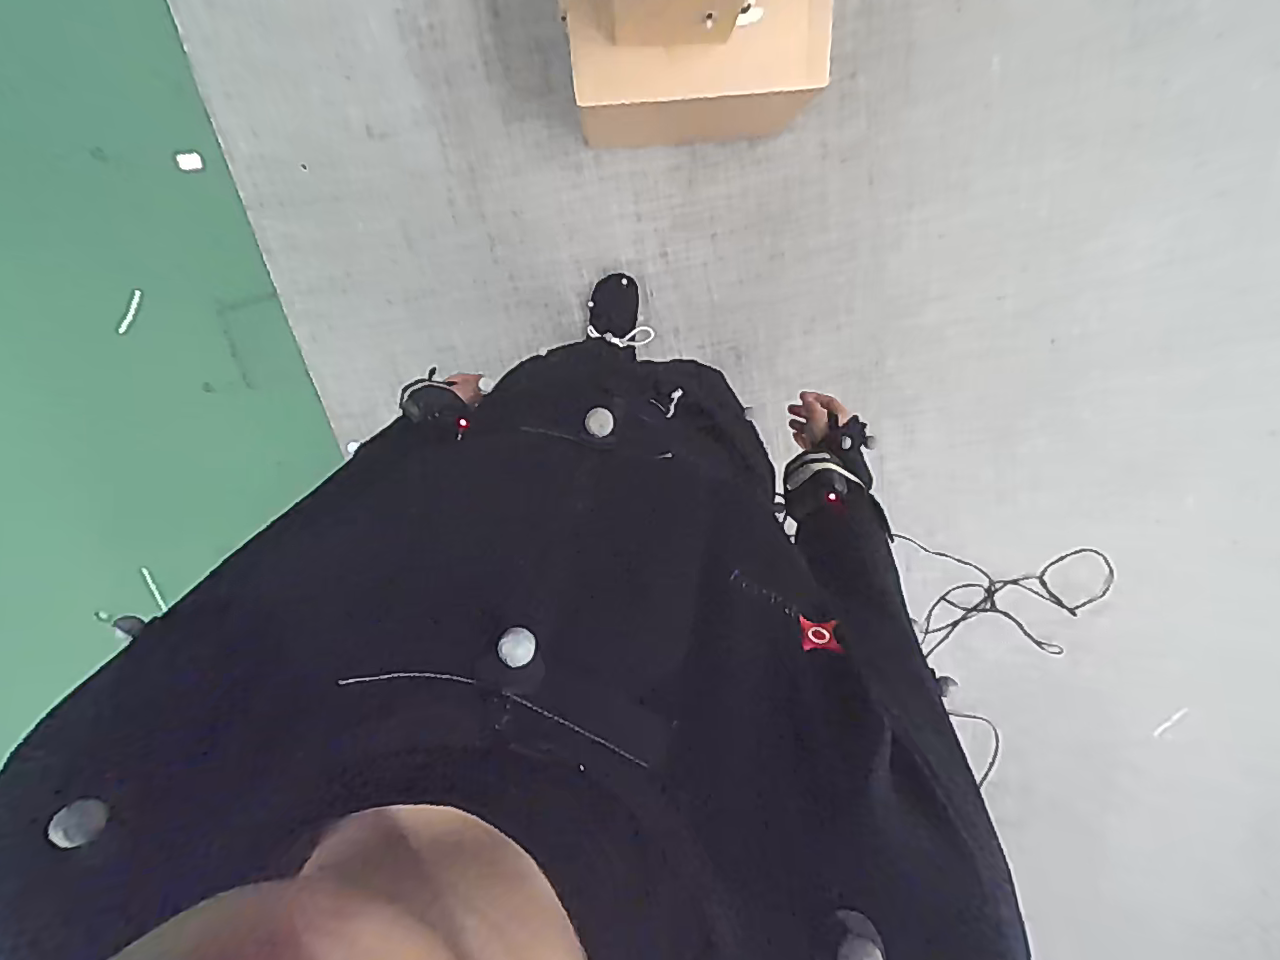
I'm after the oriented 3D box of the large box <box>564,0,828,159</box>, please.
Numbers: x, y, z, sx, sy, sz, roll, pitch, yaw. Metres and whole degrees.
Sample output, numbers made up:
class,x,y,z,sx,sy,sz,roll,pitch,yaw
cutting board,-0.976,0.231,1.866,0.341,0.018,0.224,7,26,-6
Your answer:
class,x,y,z,sx,sy,sz,roll,pitch,yaw
large box,0.077,-0.787,0.947,0.408,0.320,0.320,-5,111,-1

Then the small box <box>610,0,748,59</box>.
class,x,y,z,sx,sy,sz,roll,pitch,yaw
small box,0.044,-0.696,0.721,0.179,0.176,0.168,-4,109,0
